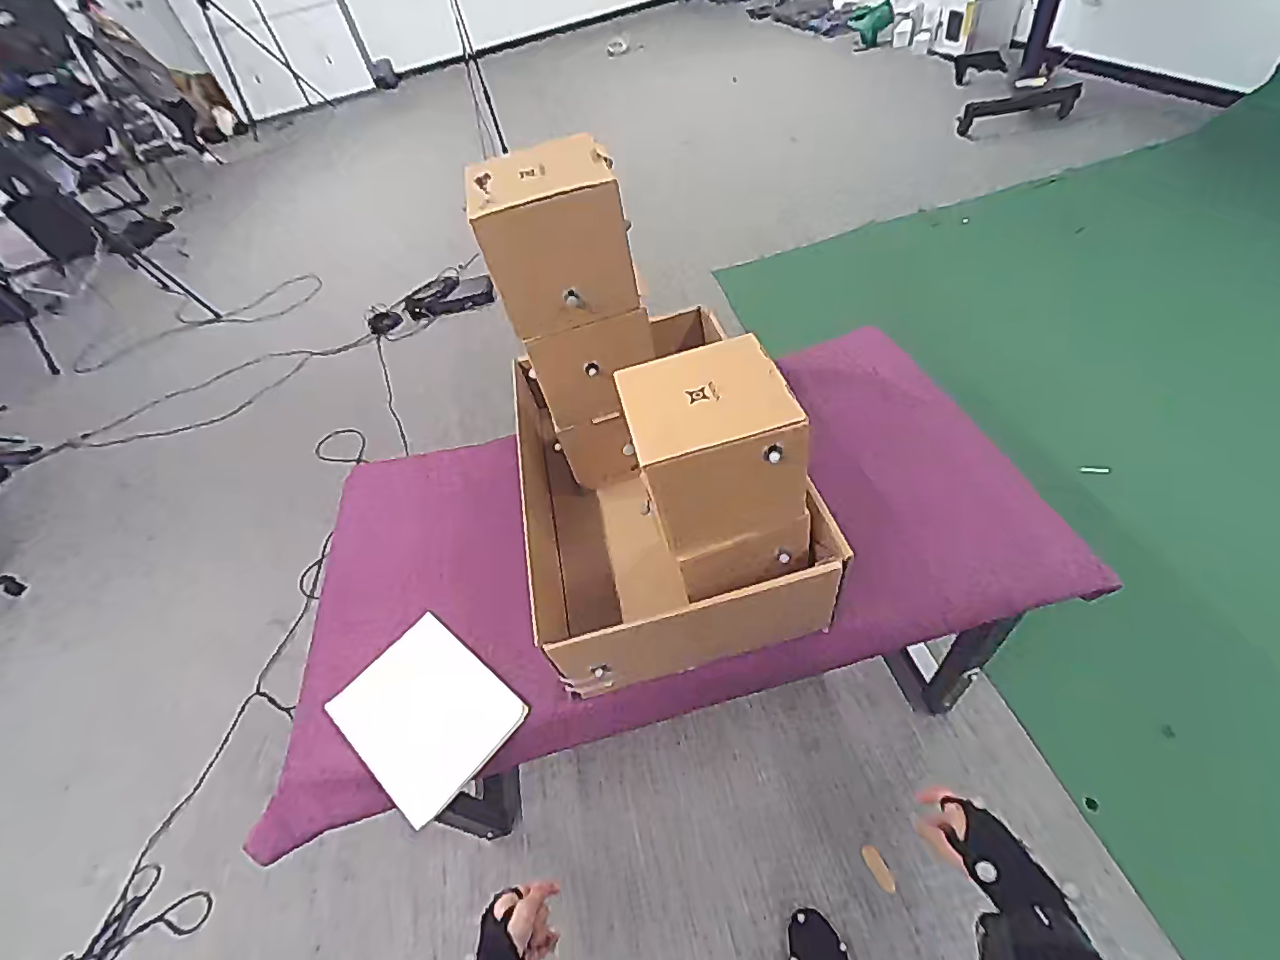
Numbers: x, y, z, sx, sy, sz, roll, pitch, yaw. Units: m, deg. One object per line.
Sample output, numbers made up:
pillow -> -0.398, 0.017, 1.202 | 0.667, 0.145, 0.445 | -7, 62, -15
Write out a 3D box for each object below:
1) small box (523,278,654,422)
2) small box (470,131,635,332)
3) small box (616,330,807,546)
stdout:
small box -> -0.079, -0.219, 0.835 | 0.179, 0.176, 0.168 | -18, 50, -2
small box -> -0.109, -0.324, 0.713 | 0.179, 0.176, 0.168 | -15, 49, -2
small box -> 0.085, -0.045, 0.645 | 0.179, 0.176, 0.168 | -16, 47, 0
